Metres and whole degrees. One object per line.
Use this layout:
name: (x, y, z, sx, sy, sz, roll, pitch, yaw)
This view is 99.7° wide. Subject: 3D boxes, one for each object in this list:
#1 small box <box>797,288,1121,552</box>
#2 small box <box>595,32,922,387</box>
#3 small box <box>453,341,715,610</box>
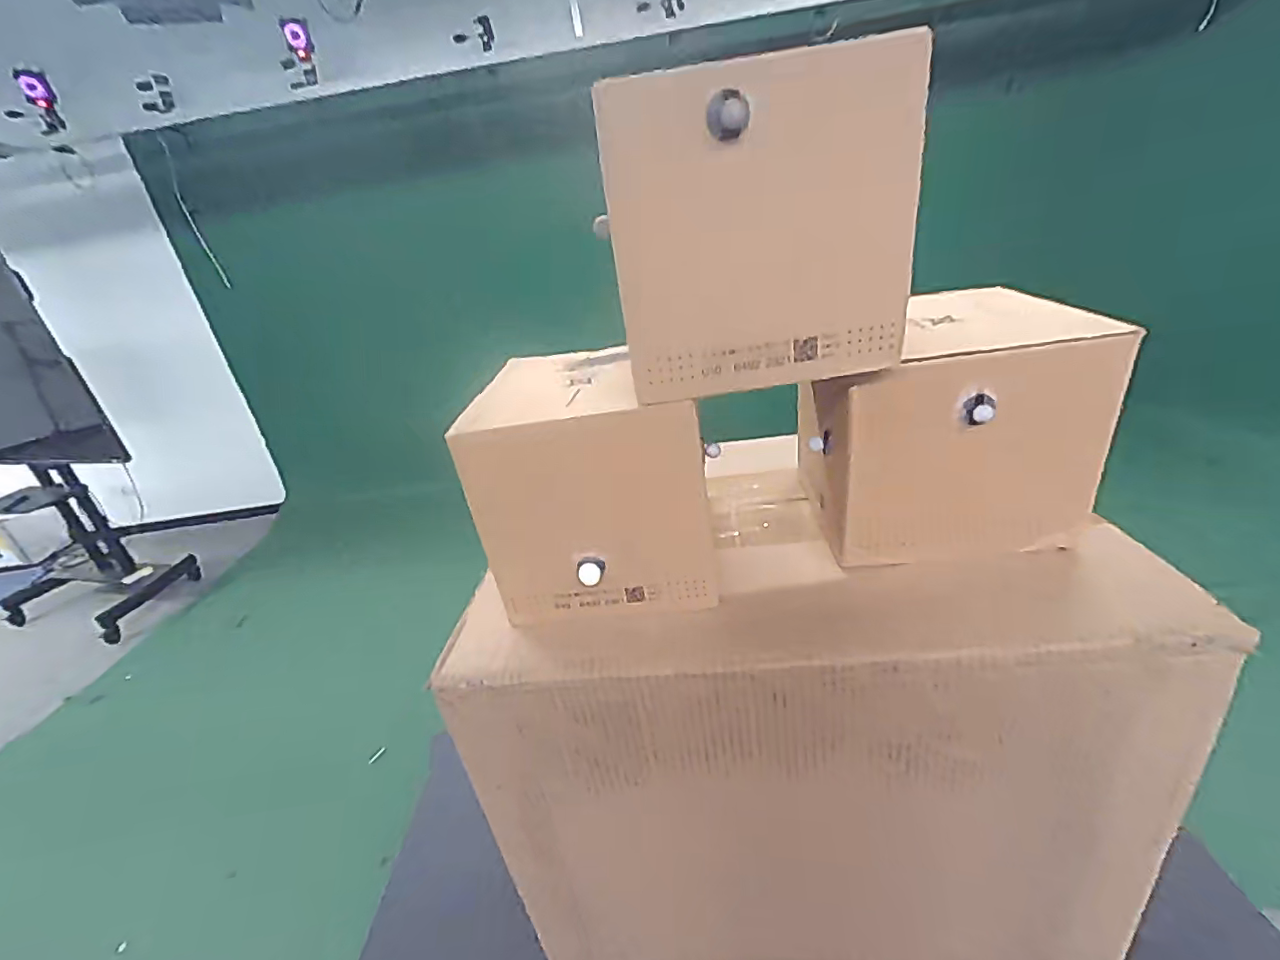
small box: (0.232, -0.053, 0.452, 0.179, 0.176, 0.168, -4, 28, 5)
small box: (0.065, -0.173, 0.377, 0.168, 0.176, 0.179, -8, 27, 1)
small box: (-0.029, -0.013, 0.459, 0.168, 0.176, 0.179, -6, 28, 7)
